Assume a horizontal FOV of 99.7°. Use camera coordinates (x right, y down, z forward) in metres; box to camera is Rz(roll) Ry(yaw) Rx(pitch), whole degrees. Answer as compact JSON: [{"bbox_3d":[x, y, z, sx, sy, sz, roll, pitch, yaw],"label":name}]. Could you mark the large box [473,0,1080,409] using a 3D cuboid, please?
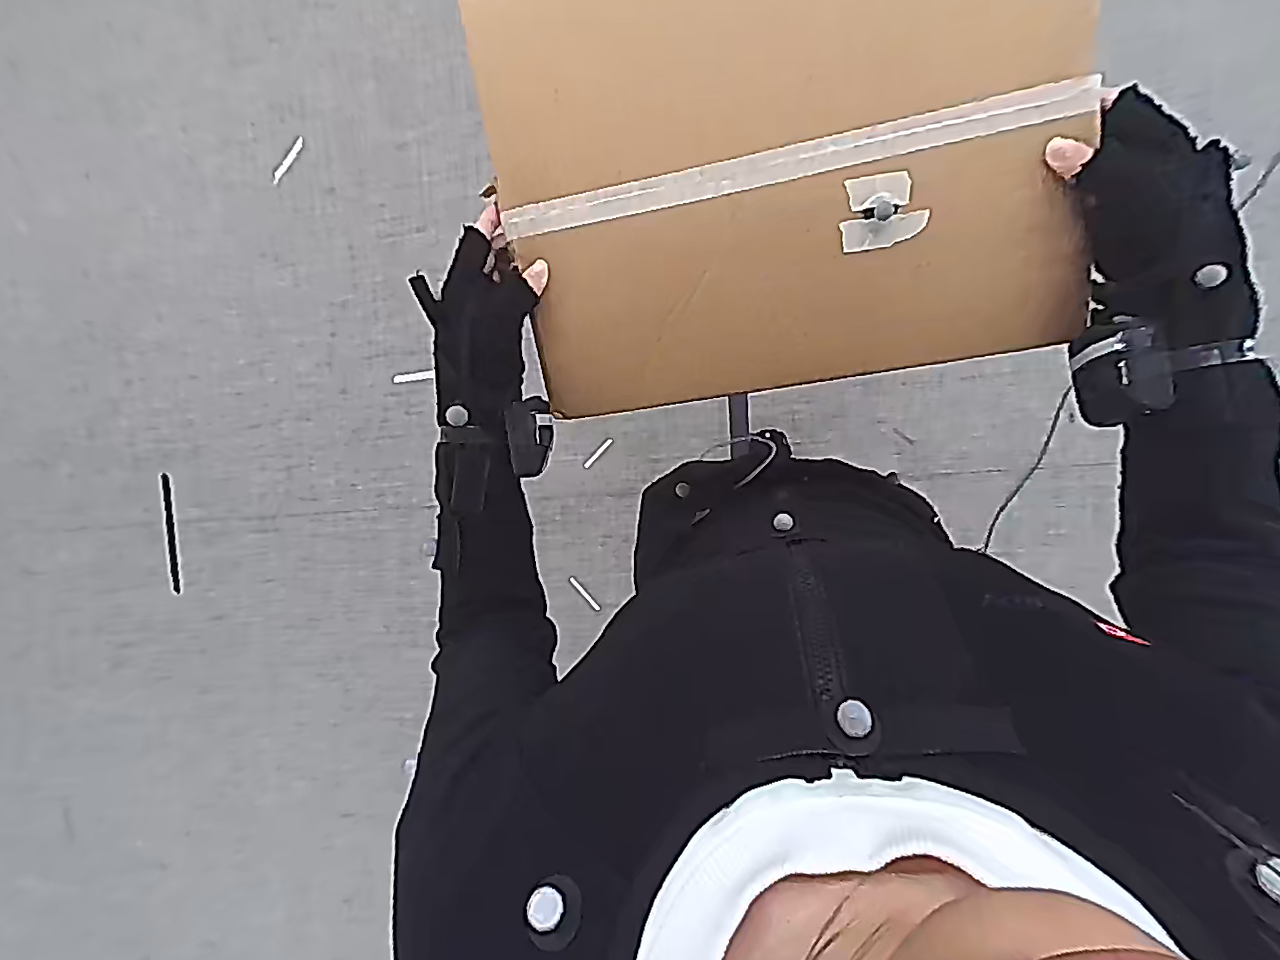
[{"bbox_3d":[0.114,-0.278,0.538,0.408,0.320,0.320,-8,107,9],"label":"large box"}]
